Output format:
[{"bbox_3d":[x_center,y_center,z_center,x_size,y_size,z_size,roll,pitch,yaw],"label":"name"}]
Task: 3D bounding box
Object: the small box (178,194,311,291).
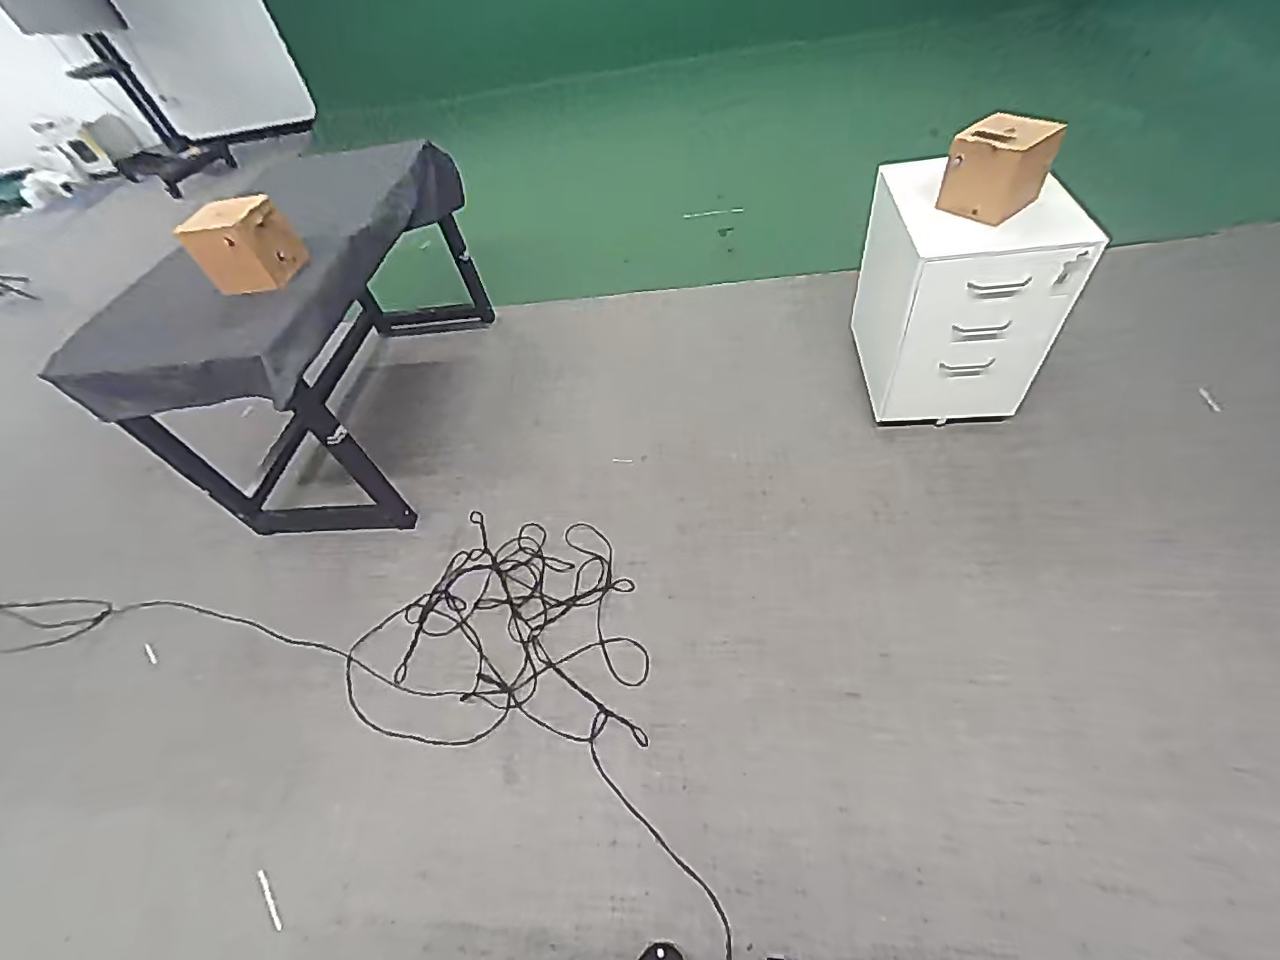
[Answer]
[{"bbox_3d":[-0.991,-0.599,1.374,0.179,0.176,0.168,-2,51,9],"label":"small box"}]
